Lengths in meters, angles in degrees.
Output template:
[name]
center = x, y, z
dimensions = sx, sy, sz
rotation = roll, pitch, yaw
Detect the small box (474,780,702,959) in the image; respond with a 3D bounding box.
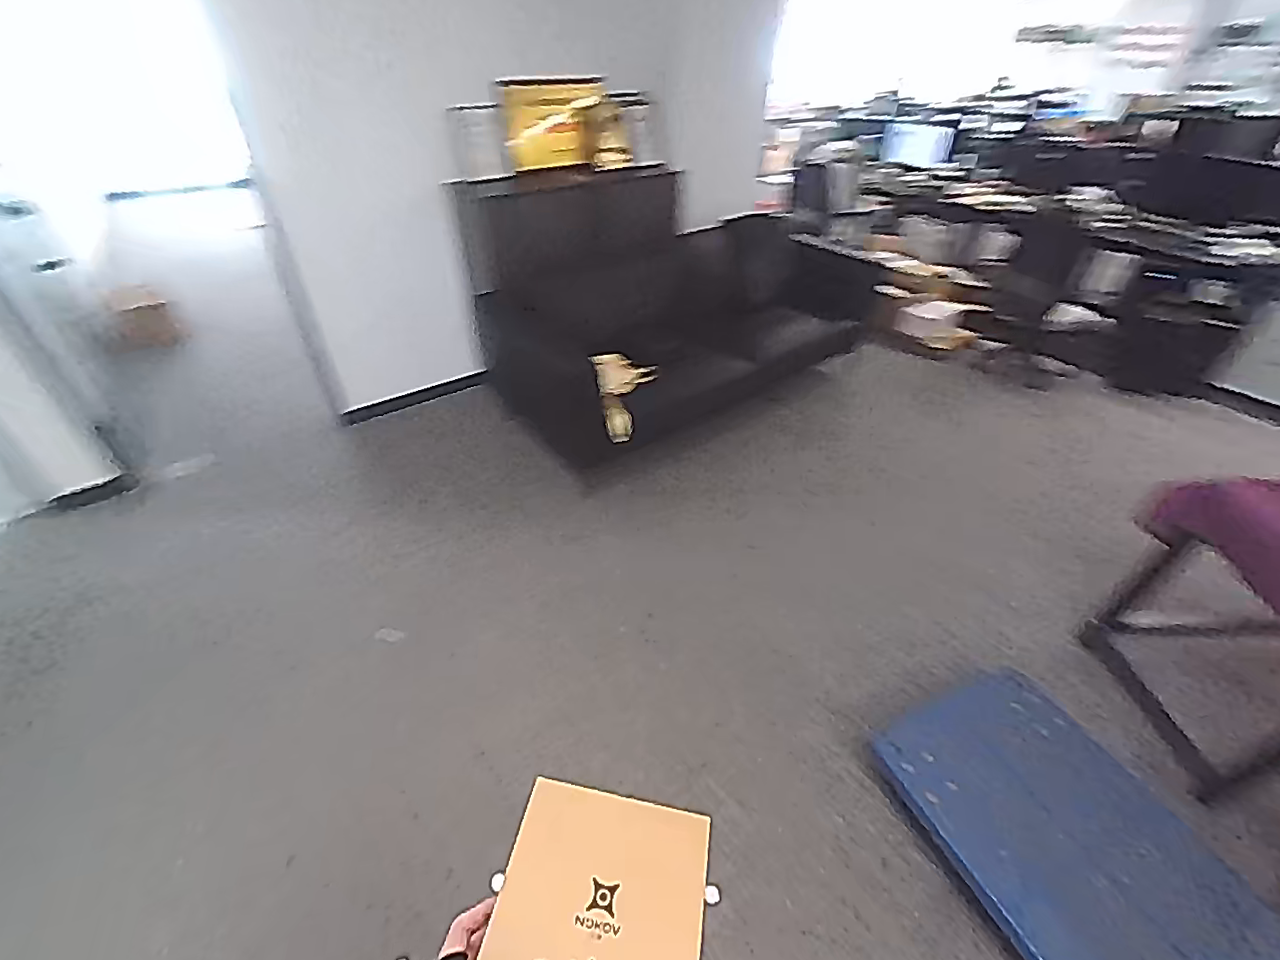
[small box]
center = -0.044, 0.412, 0.488
dimensions = 0.168, 0.176, 0.179
rotation = 9, 39, 6
